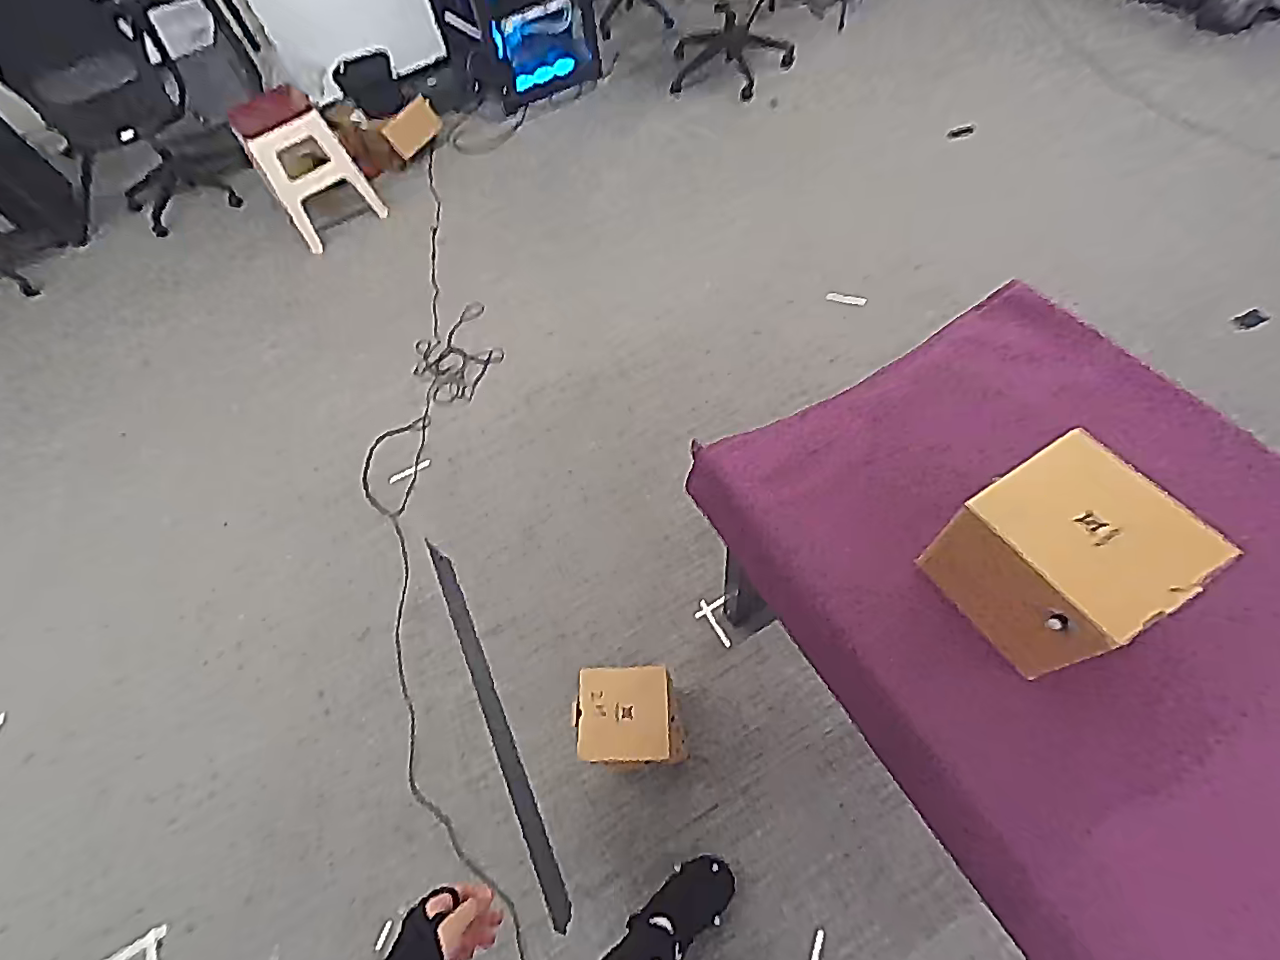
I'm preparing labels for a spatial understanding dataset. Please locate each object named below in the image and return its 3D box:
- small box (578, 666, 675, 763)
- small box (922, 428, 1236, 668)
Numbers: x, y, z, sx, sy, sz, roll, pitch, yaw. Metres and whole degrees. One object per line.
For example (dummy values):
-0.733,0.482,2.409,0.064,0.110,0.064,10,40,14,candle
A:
-0.019,0.477,1.094,0.179,0.176,0.168,-4,60,6,small box
0.458,0.081,0.603,0.168,0.176,0.179,-31,62,-10,small box
